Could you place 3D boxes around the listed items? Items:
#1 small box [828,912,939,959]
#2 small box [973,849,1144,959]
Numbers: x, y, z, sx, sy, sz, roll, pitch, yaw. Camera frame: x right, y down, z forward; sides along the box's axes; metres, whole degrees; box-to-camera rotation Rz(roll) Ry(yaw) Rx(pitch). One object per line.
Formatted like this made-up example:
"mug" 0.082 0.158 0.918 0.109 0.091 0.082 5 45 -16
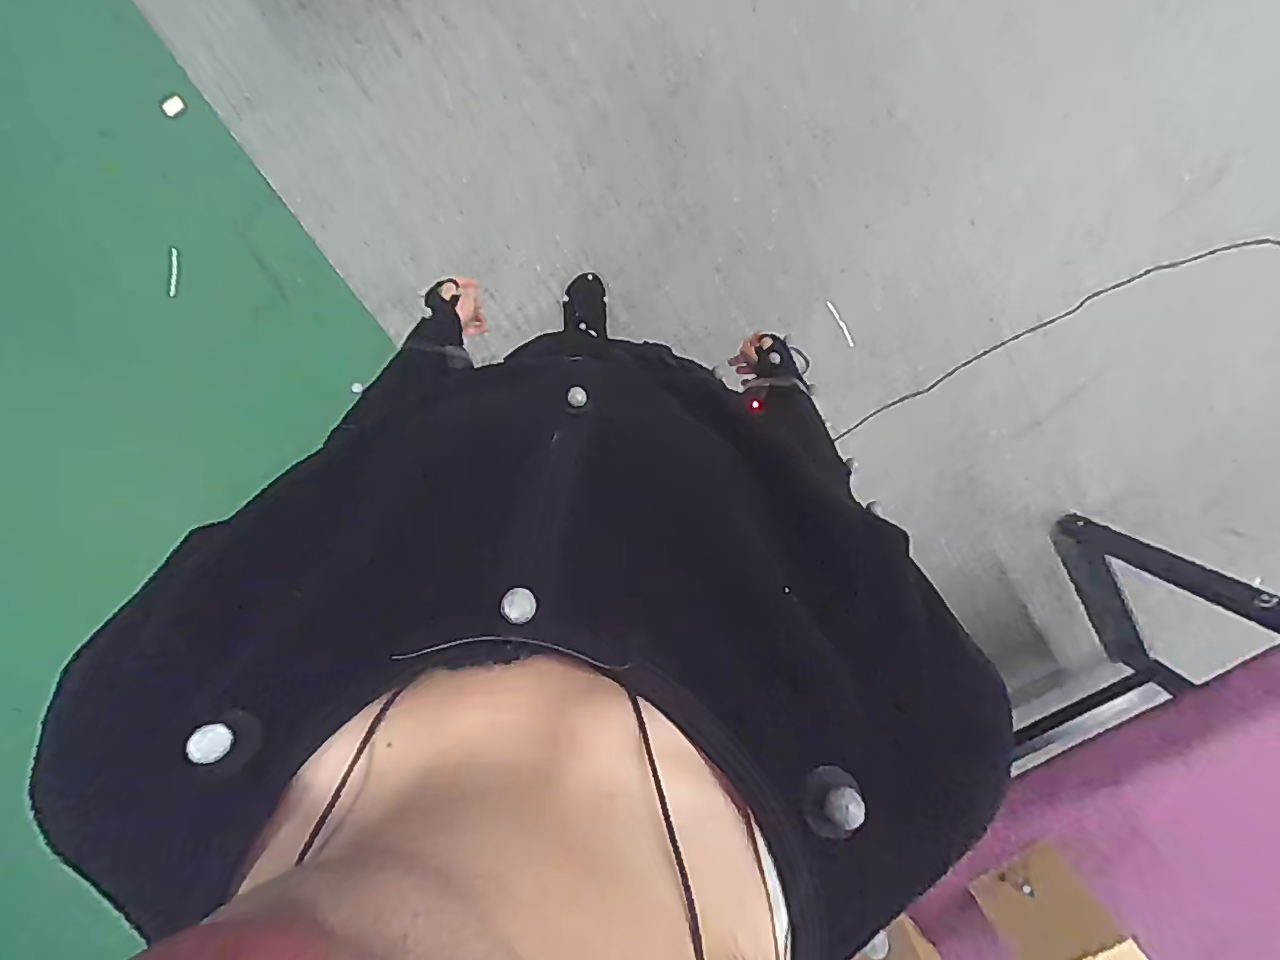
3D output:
"small box" 0.449 0.909 0.933 0.179 0.176 0.168 -37 103 8
"small box" 0.710 0.771 0.901 0.168 0.176 0.179 -39 103 8
